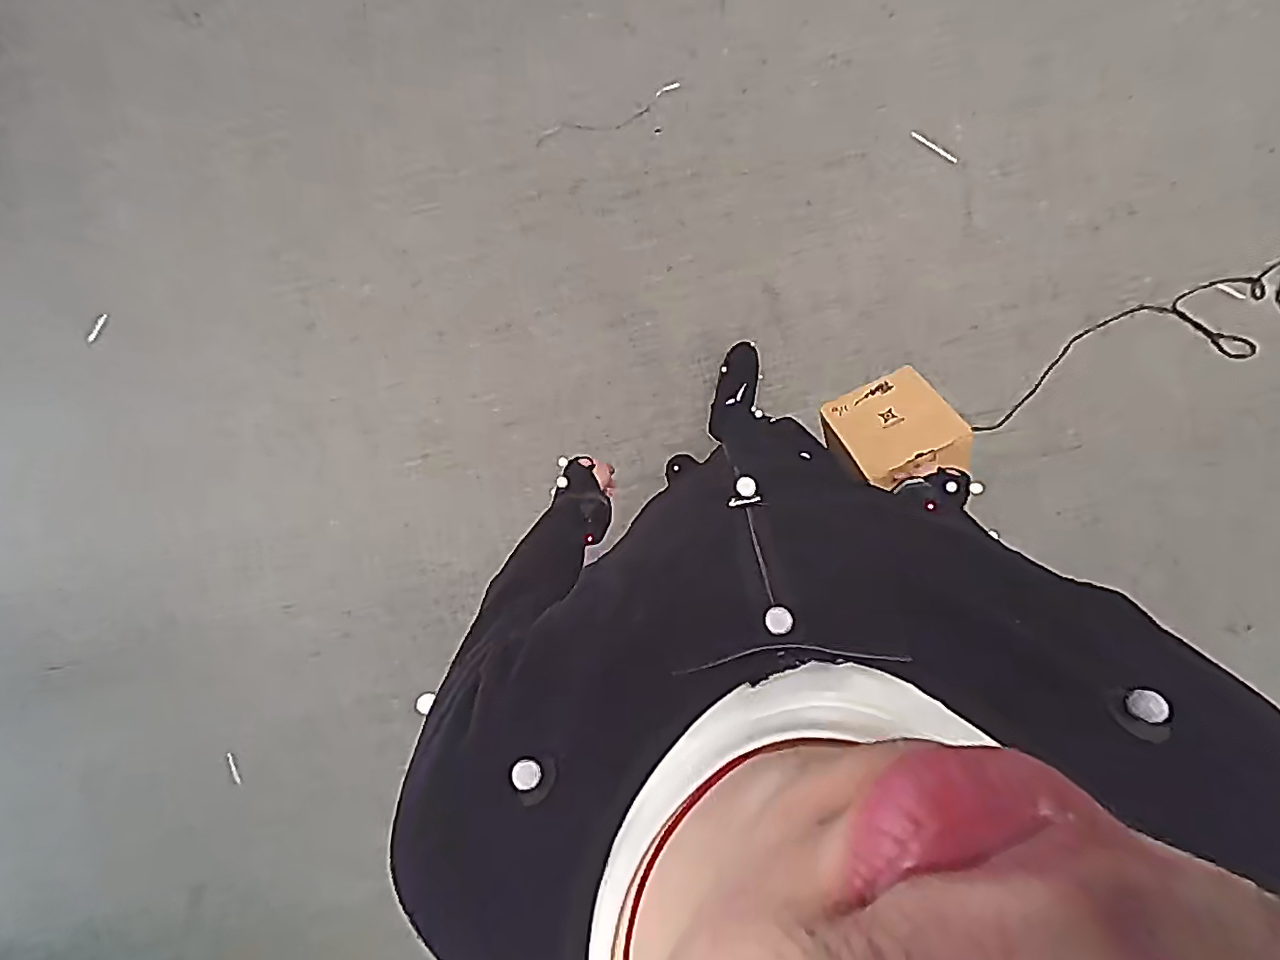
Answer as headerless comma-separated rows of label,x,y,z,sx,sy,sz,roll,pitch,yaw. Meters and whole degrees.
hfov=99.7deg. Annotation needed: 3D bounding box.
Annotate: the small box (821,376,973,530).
small box,0.440,-0.036,0.927,0.168,0.179,0.176,-29,136,9
